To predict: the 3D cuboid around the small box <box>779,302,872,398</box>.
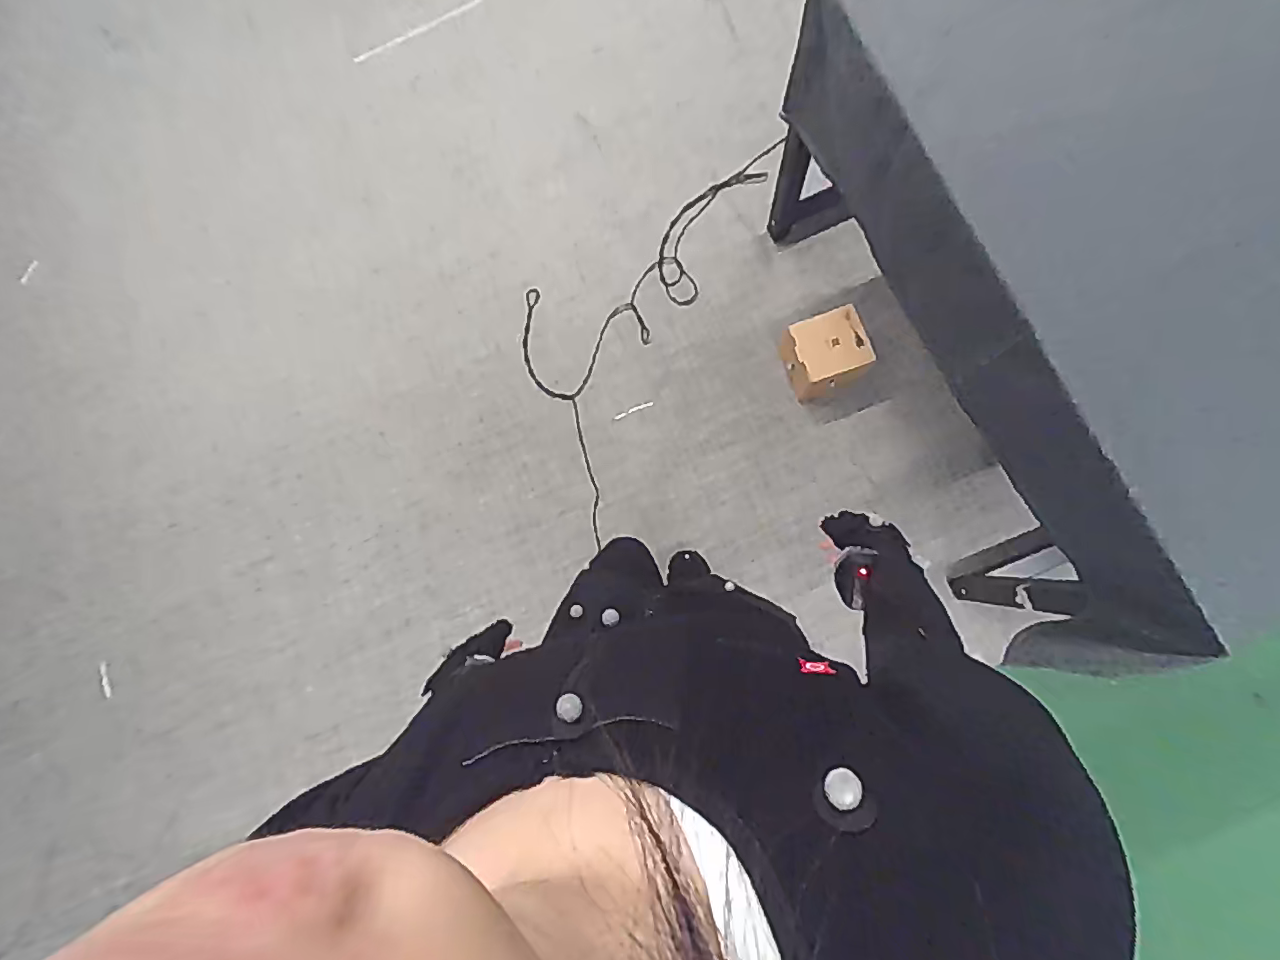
[{"bbox_3d":[0.482,-0.337,1.441,0.179,0.176,0.168,-19,80,2],"label":"small box"}]
